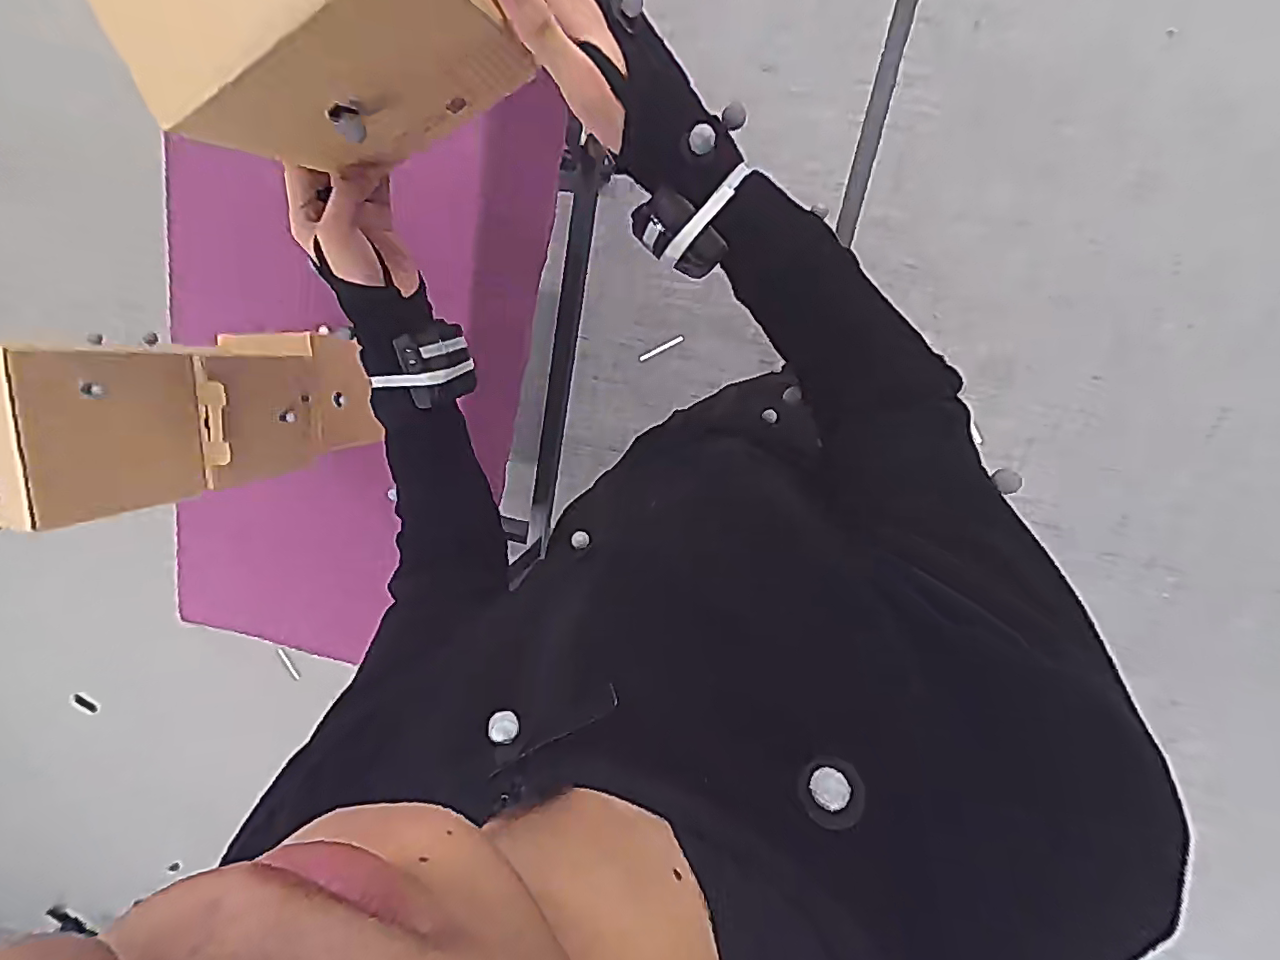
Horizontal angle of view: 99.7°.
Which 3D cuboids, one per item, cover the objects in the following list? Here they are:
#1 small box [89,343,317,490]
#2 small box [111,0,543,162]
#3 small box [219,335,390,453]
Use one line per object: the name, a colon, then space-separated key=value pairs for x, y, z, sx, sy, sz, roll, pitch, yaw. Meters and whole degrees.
small box: x=-0.581 y=-0.093 z=0.740 sx=0.179 sy=0.176 sz=0.168 roll=7 pitch=104 yaw=10
small box: x=-0.181 y=-0.311 z=0.311 sx=0.168 sy=0.176 sz=0.179 roll=-19 pitch=105 yaw=17
small box: x=-0.538 y=-0.145 z=0.892 sx=0.168 sy=0.176 sz=0.179 roll=2 pitch=101 yaw=11
